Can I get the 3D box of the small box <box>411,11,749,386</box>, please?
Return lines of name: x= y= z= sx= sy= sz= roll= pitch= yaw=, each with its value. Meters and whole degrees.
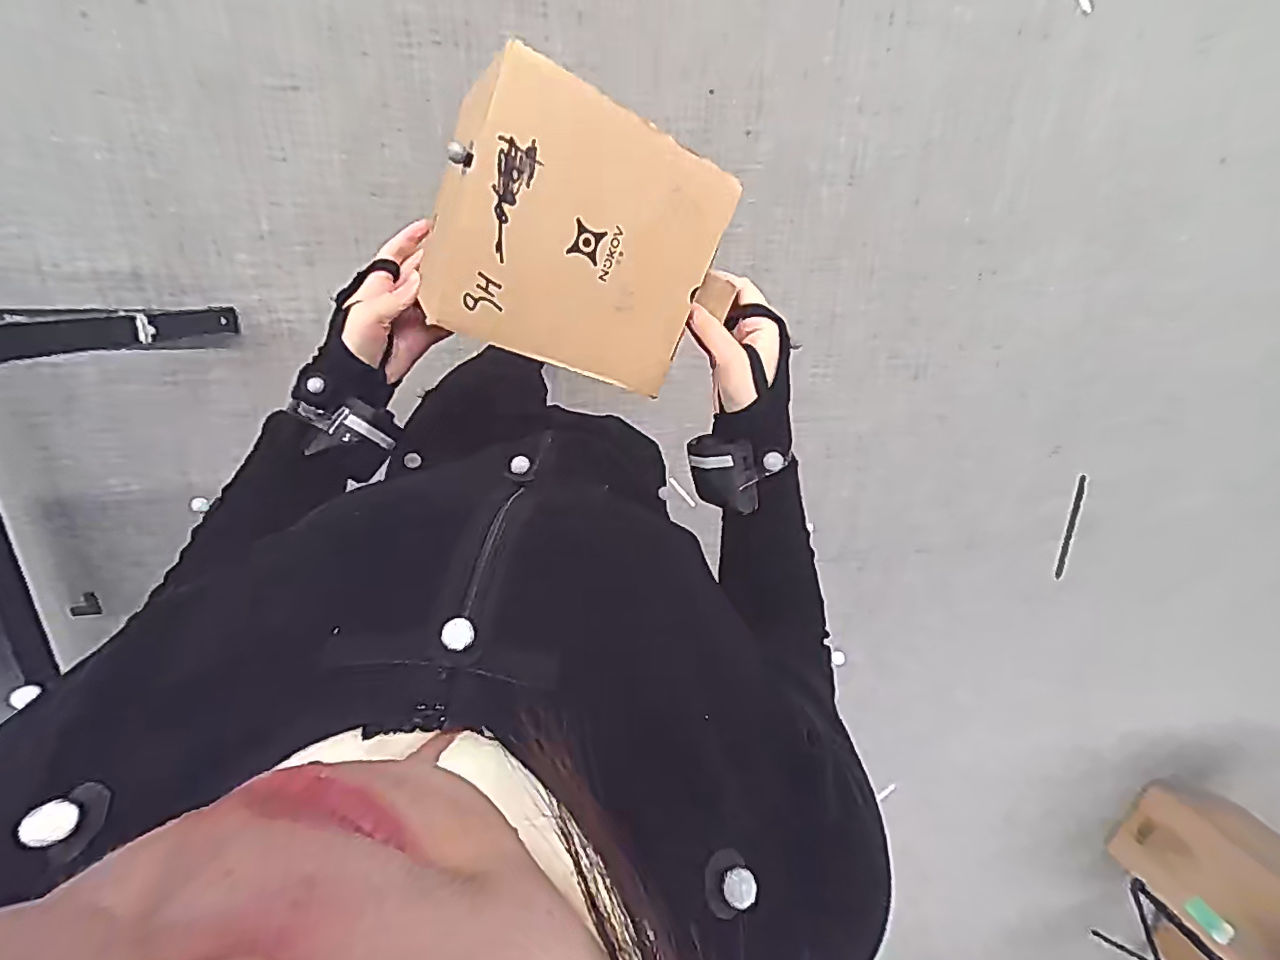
small box: x=-0.058 y=-0.192 z=0.412 sx=0.179 sy=0.176 sz=0.168 roll=14 pitch=106 yaw=-32
